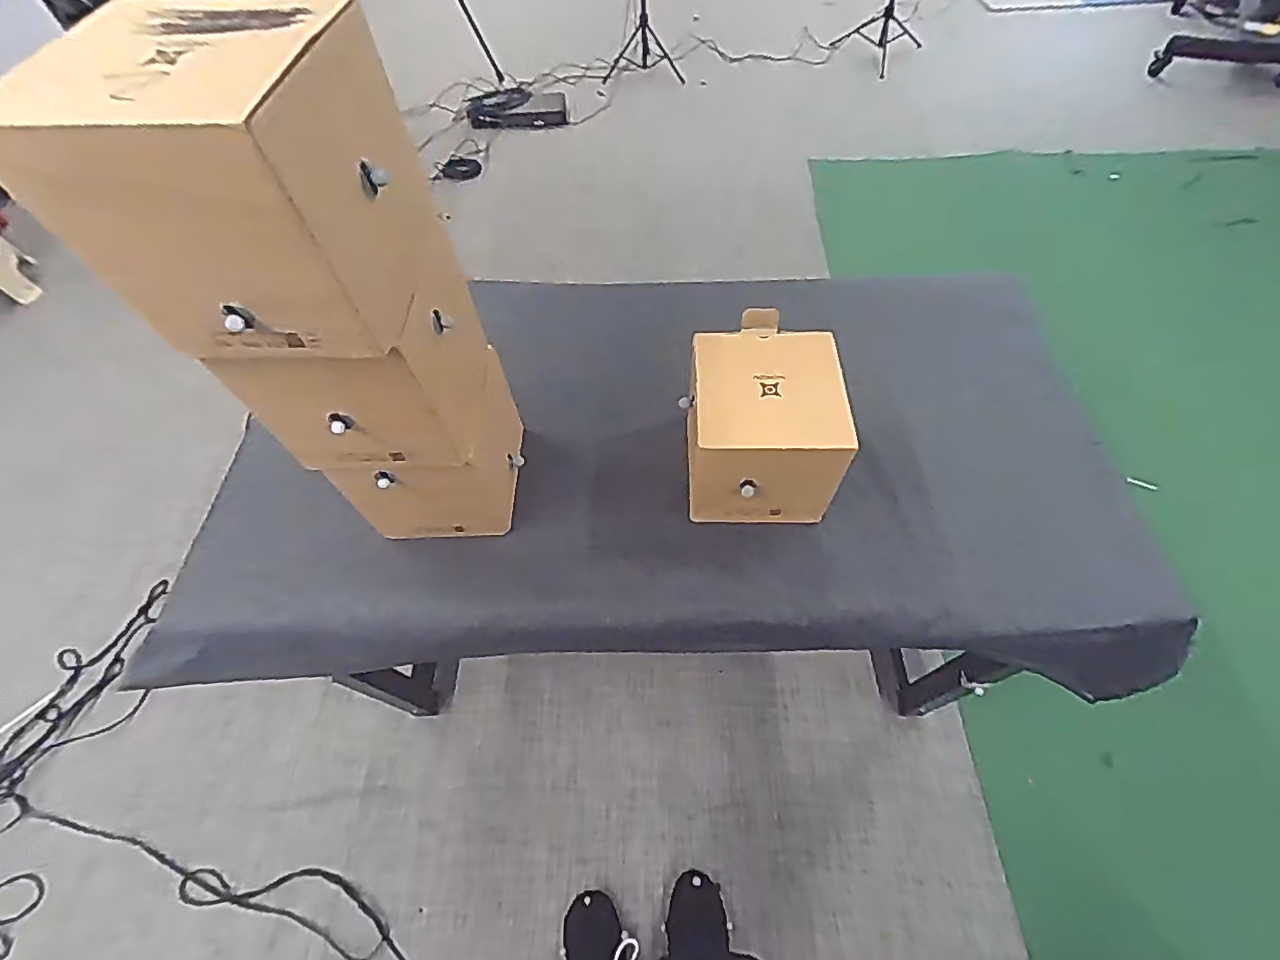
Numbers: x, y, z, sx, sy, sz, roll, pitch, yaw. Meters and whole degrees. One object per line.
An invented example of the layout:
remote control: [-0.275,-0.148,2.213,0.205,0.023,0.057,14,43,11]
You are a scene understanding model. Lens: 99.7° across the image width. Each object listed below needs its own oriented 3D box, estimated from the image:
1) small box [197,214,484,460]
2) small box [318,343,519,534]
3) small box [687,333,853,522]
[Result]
small box: [-0.263,-0.132,0.530,0.168,0.176,0.179,0,57,1]
small box: [-0.253,-0.048,0.672,0.168,0.176,0.179,-1,57,1]
small box: [0.146,-0.059,0.669,0.168,0.176,0.179,0,57,2]
